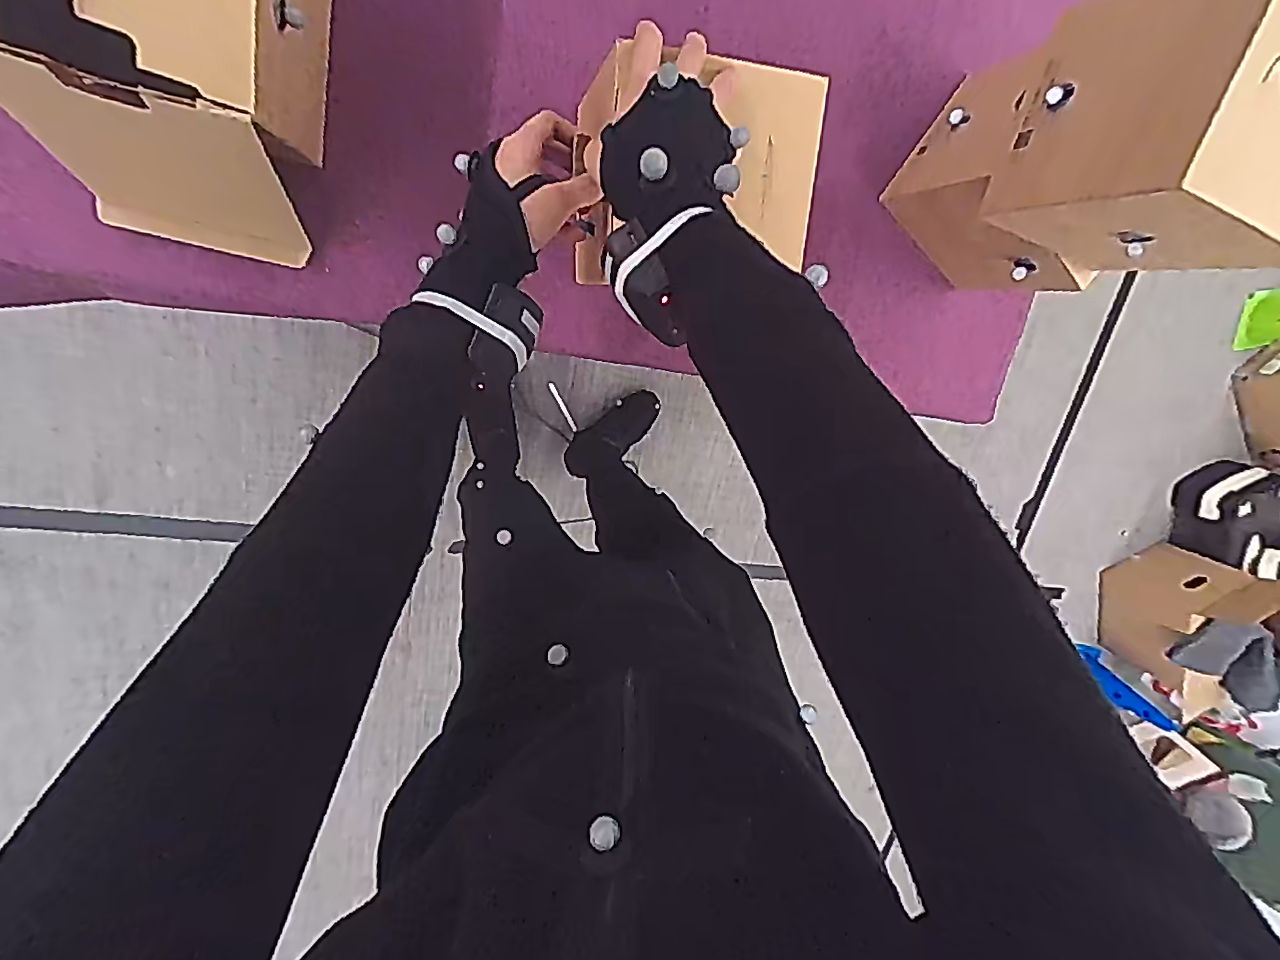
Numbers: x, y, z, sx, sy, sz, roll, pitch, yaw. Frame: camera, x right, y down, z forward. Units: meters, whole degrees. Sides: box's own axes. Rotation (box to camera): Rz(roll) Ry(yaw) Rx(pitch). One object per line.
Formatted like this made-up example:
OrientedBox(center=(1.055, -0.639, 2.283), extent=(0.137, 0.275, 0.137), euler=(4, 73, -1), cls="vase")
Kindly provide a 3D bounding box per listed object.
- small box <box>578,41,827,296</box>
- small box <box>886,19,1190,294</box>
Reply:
OrientedBox(center=(0.040, -0.266, 0.506), extent=(0.179, 0.176, 0.168), euler=(-1, 110, -16), cls="small box")
OrientedBox(center=(0.417, -0.327, 0.589), extent=(0.179, 0.176, 0.168), euler=(33, 98, -24), cls="small box")
